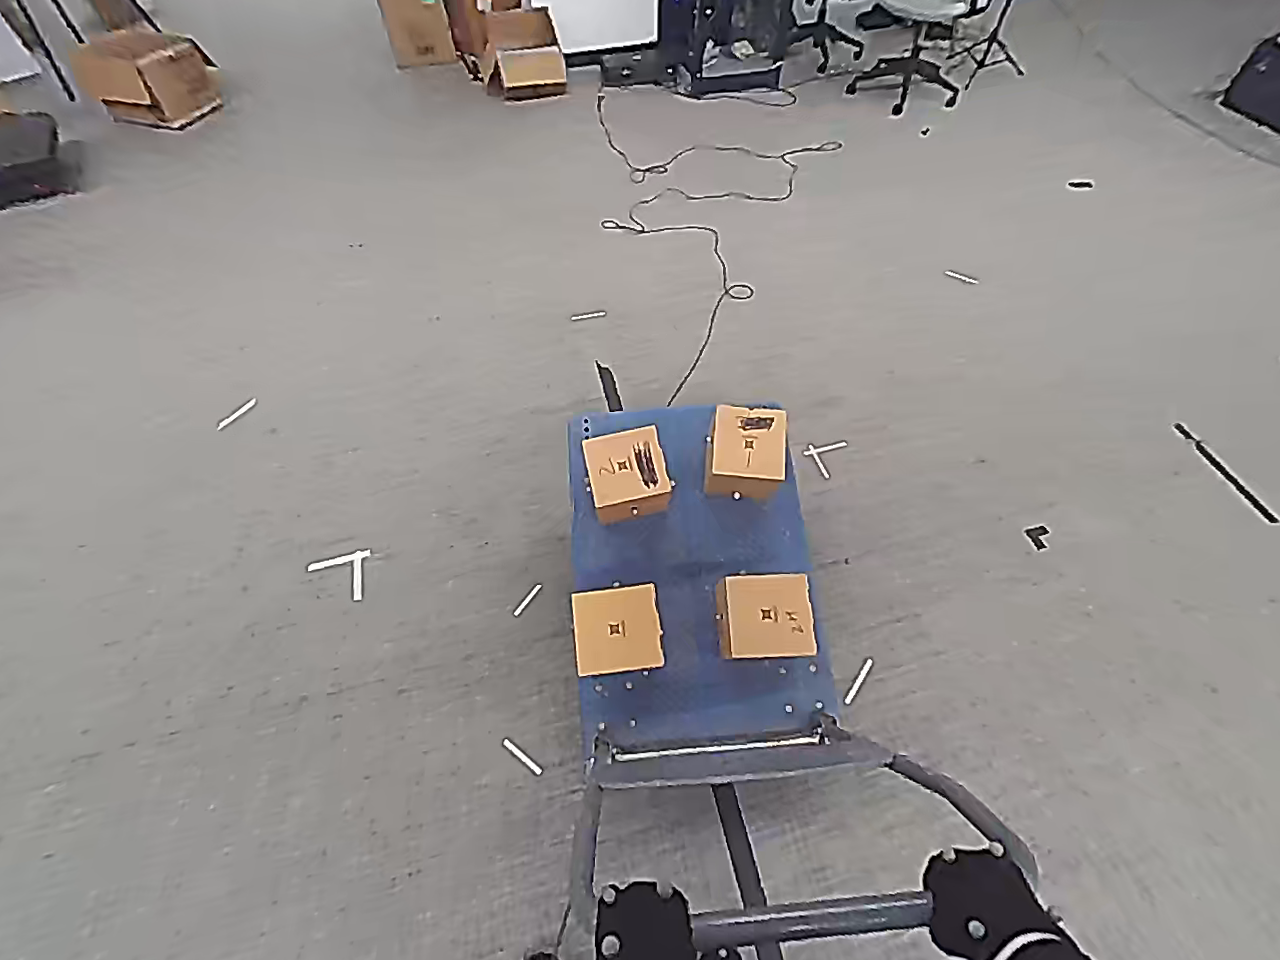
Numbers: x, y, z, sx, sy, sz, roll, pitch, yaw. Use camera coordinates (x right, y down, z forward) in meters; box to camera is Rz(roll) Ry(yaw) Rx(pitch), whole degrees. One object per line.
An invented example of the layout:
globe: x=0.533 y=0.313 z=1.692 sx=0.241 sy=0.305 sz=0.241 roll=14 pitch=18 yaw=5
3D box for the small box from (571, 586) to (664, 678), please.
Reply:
small box: x=-0.047 y=0.335 z=1.173 sx=0.179 sy=0.176 sz=0.168 roll=-7 pitch=71 yaw=-4

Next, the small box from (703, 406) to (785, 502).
small box: x=0.248 y=-0.059 z=1.310 sx=0.168 sy=0.176 sz=0.179 roll=5 pitch=72 yaw=1

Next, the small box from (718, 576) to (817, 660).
small box: x=0.268 y=0.306 z=1.184 sx=0.179 sy=0.176 sz=0.168 roll=-2 pitch=72 yaw=-1
